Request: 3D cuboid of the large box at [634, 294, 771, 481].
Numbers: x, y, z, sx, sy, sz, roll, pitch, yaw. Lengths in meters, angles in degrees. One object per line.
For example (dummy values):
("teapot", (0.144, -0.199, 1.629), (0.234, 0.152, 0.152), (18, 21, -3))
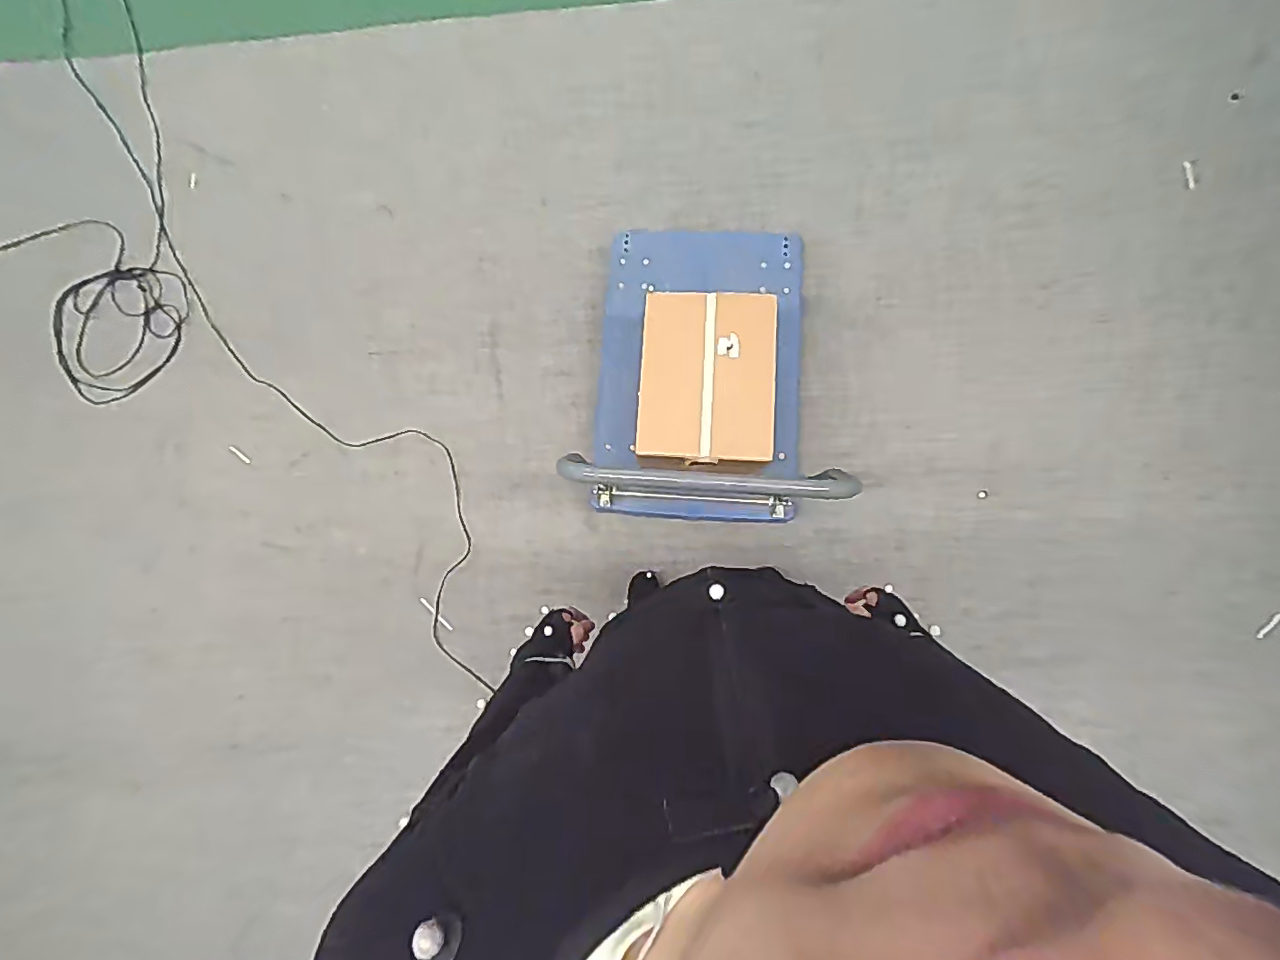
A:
("large box", (0.160, -0.221, 1.411), (0.320, 0.320, 0.408), (3, 80, 4))
